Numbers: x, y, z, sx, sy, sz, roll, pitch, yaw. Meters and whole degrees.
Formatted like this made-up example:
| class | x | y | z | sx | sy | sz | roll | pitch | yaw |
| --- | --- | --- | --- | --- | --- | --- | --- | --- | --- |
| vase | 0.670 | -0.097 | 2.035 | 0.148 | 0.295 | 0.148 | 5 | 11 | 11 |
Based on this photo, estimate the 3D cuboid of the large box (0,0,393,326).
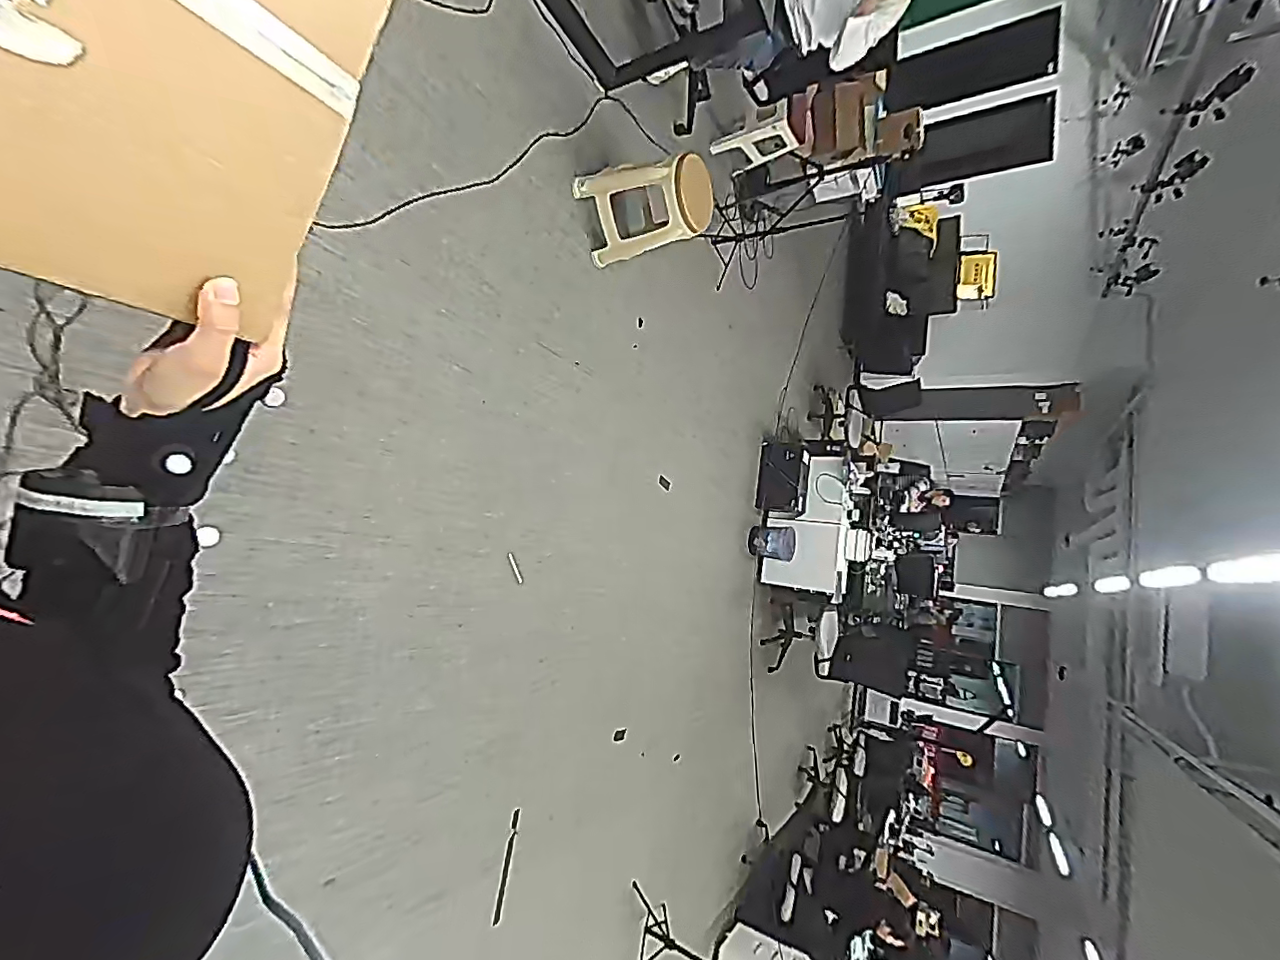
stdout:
| class | x | y | z | sx | sy | sz | roll | pitch | yaw |
| --- | --- | --- | --- | --- | --- | --- | --- | --- | --- |
| large box | -0.383 | -0.319 | 0.228 | 0.408 | 0.320 | 0.320 | 12 | 110 | -59 |
